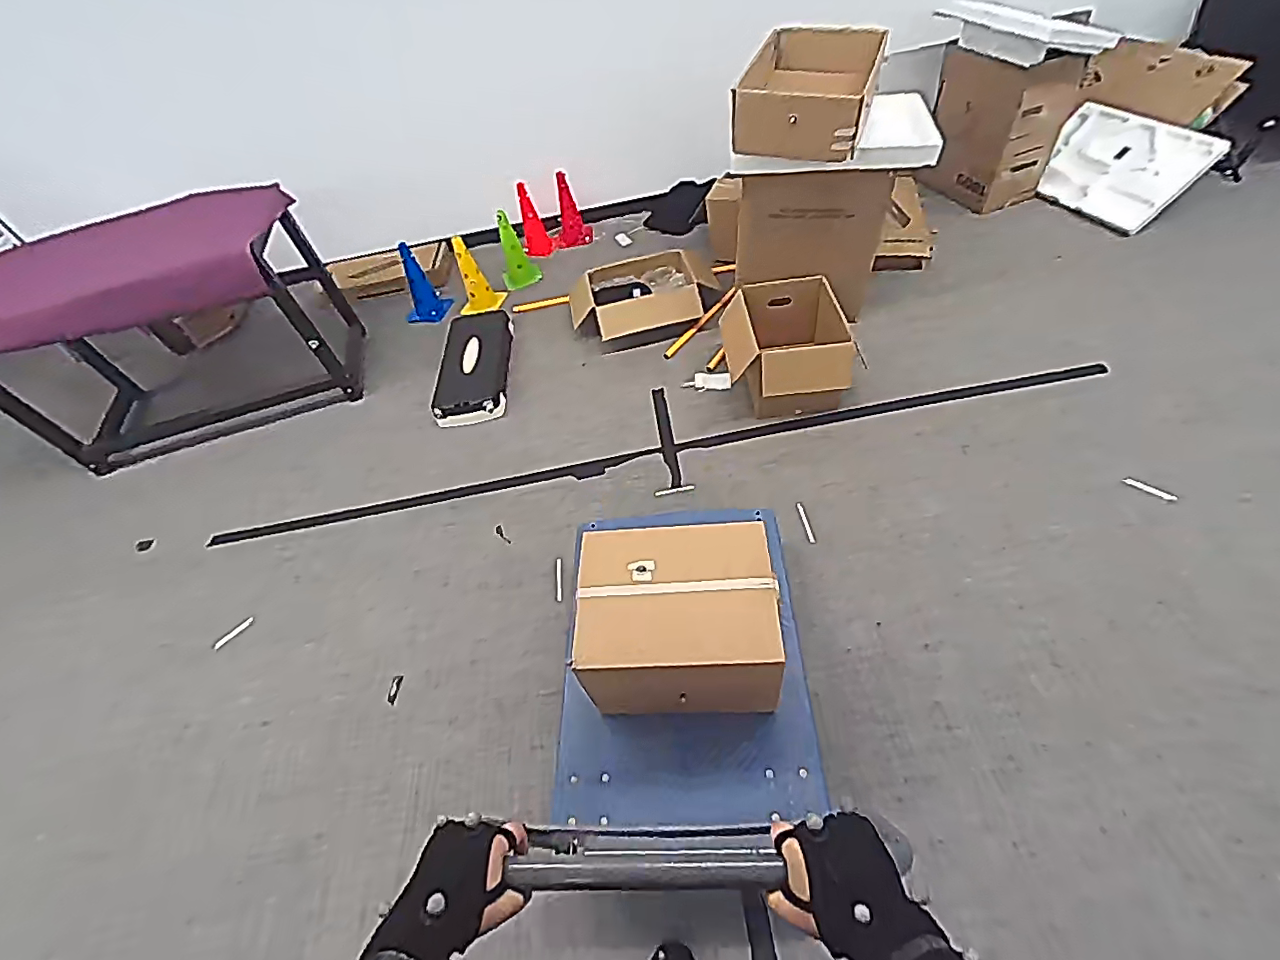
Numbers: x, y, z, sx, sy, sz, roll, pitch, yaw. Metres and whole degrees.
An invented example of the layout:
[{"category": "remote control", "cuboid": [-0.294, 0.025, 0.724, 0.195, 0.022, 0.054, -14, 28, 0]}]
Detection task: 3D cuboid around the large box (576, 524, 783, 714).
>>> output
[{"category": "large box", "cuboid": [0.094, 0.329, 1.237, 0.408, 0.320, 0.320, -6, 50, 7]}]
